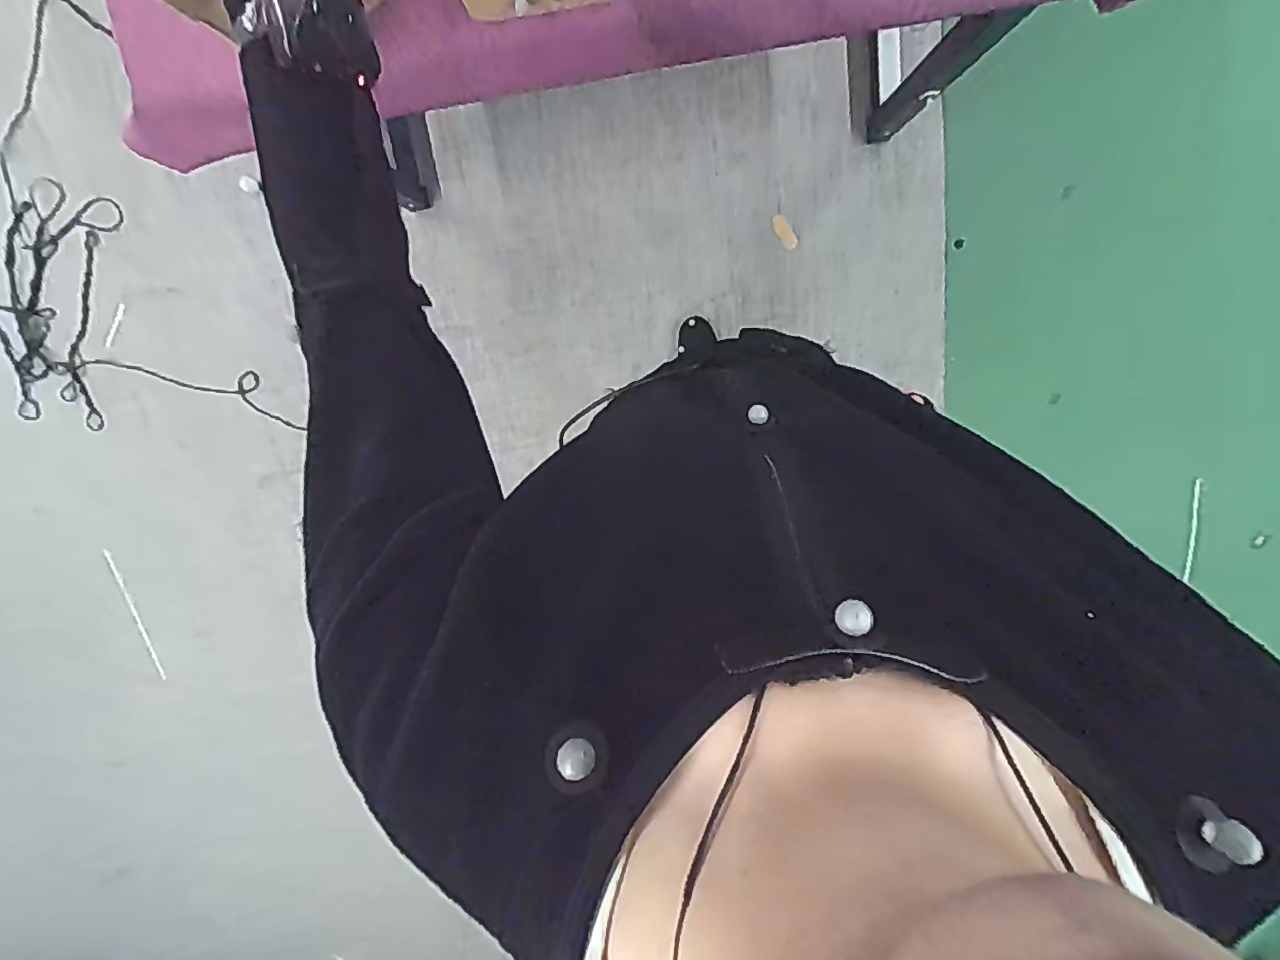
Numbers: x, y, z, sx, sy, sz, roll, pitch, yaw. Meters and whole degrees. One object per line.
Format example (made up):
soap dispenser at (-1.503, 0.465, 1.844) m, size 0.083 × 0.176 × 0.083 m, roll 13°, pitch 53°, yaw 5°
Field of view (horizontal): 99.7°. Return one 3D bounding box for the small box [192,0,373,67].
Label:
small box at (-0.404, -0.583, 0.553) m, size 0.179 × 0.176 × 0.168 m, roll -31°, pitch 101°, yaw 10°

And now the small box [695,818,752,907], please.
small box at (0.263, 1.213, 1.725) m, size 0.168 × 0.176 × 0.179 m, roll -2°, pitch 104°, yaw 4°

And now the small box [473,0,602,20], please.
small box at (-0.126, -0.612, 0.532) m, size 0.168 × 0.176 × 0.179 m, roll -5°, pitch 104°, yaw 5°
